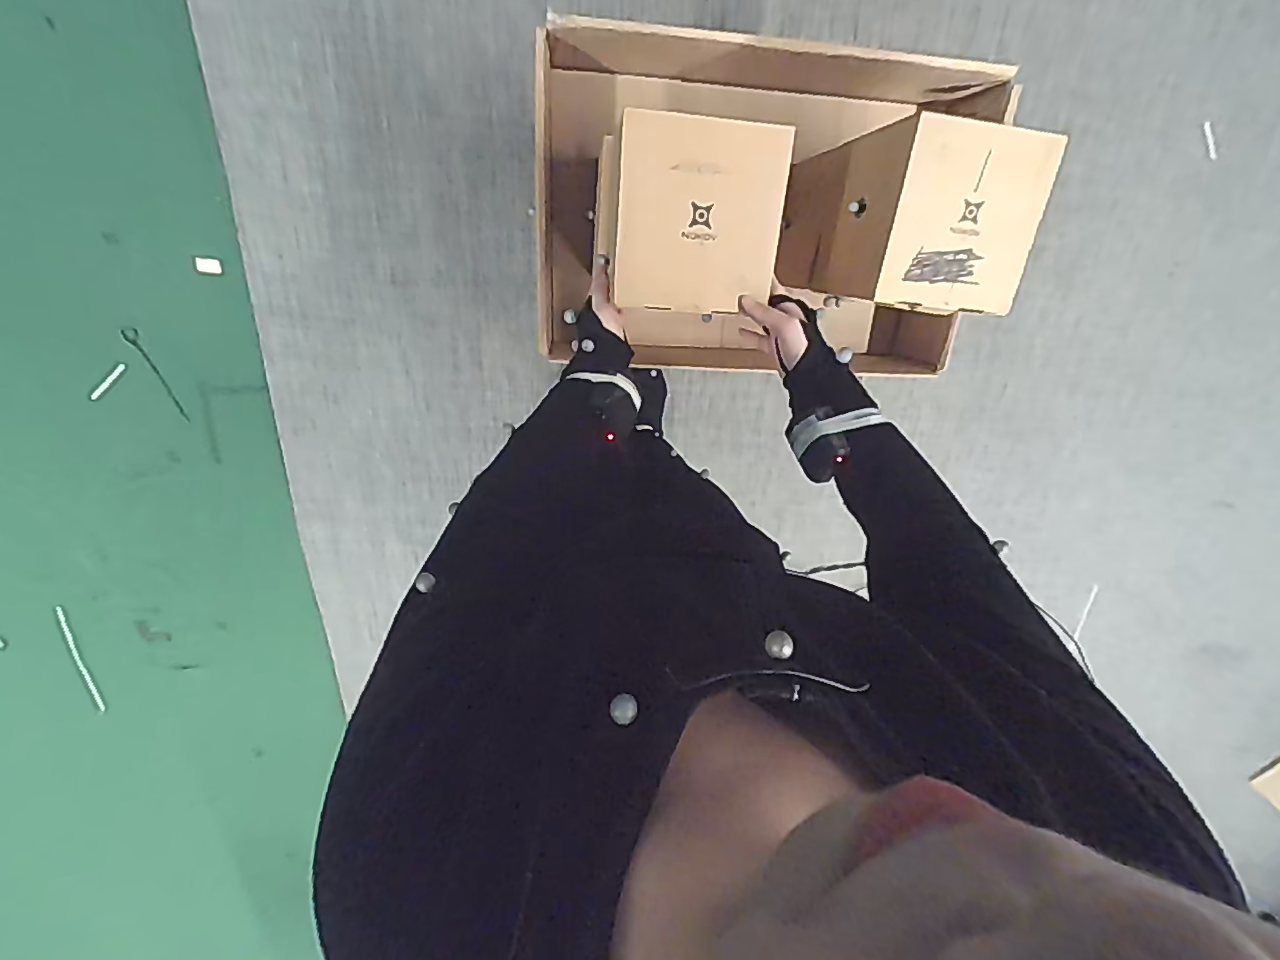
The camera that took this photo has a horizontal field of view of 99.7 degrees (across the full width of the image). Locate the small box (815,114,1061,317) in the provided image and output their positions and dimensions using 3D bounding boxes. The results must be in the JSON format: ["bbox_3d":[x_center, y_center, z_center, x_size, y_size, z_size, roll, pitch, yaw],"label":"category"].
[{"bbox_3d":[0.327,-0.298,0.636,0.168,0.176,0.179,3,111,-9],"label":"small box"}]

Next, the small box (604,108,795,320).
[{"bbox_3d":[0.050,-0.284,0.605,0.168,0.176,0.179,2,112,-9],"label":"small box"}]
